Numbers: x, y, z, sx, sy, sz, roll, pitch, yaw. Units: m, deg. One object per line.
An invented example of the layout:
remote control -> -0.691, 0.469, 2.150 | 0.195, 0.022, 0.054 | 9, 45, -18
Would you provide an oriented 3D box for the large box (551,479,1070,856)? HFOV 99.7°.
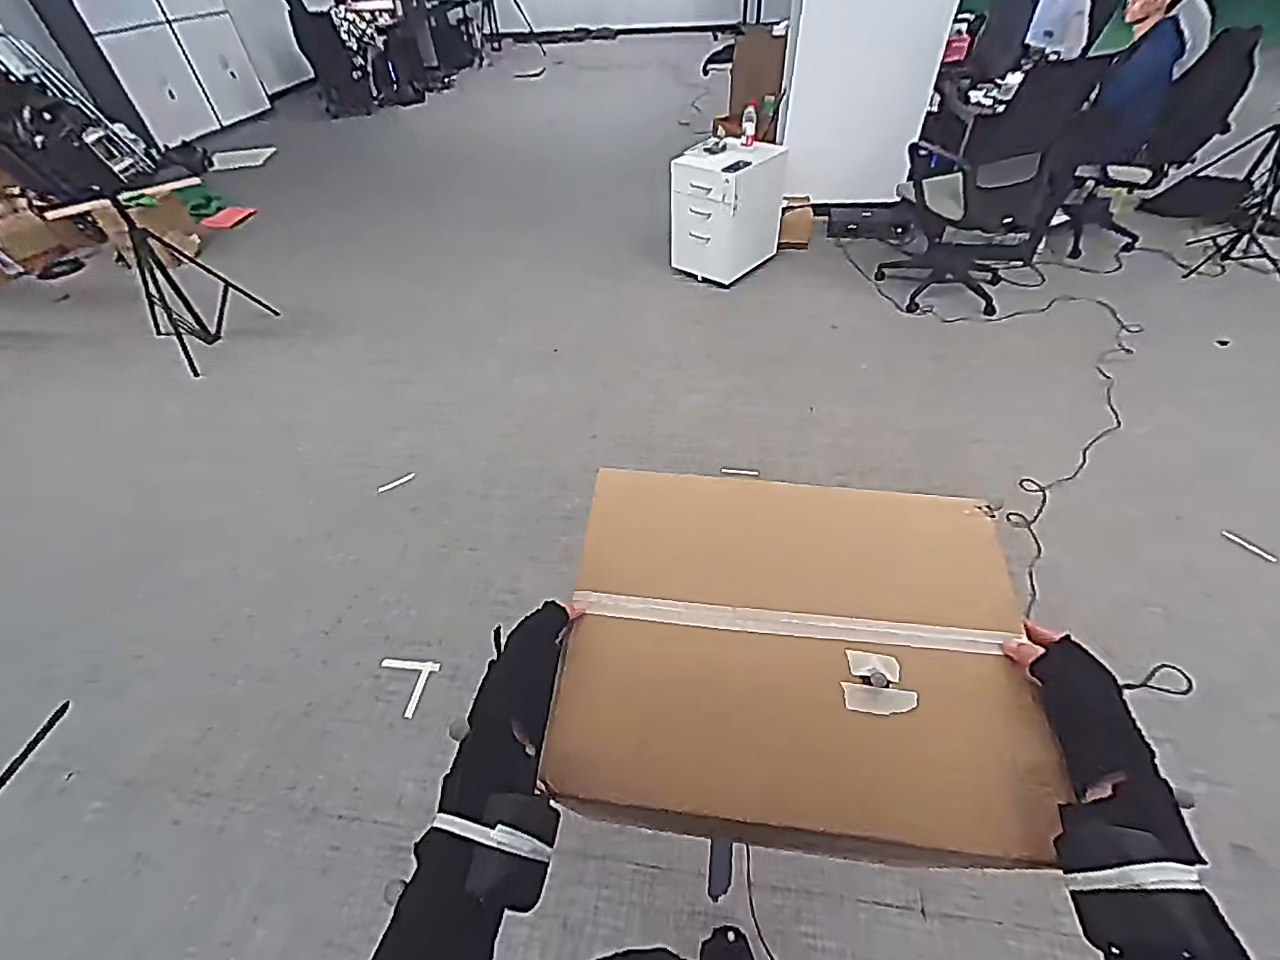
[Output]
large box -> 0.140, 0.221, 0.619 | 0.408, 0.320, 0.320 | 5, 56, 5
